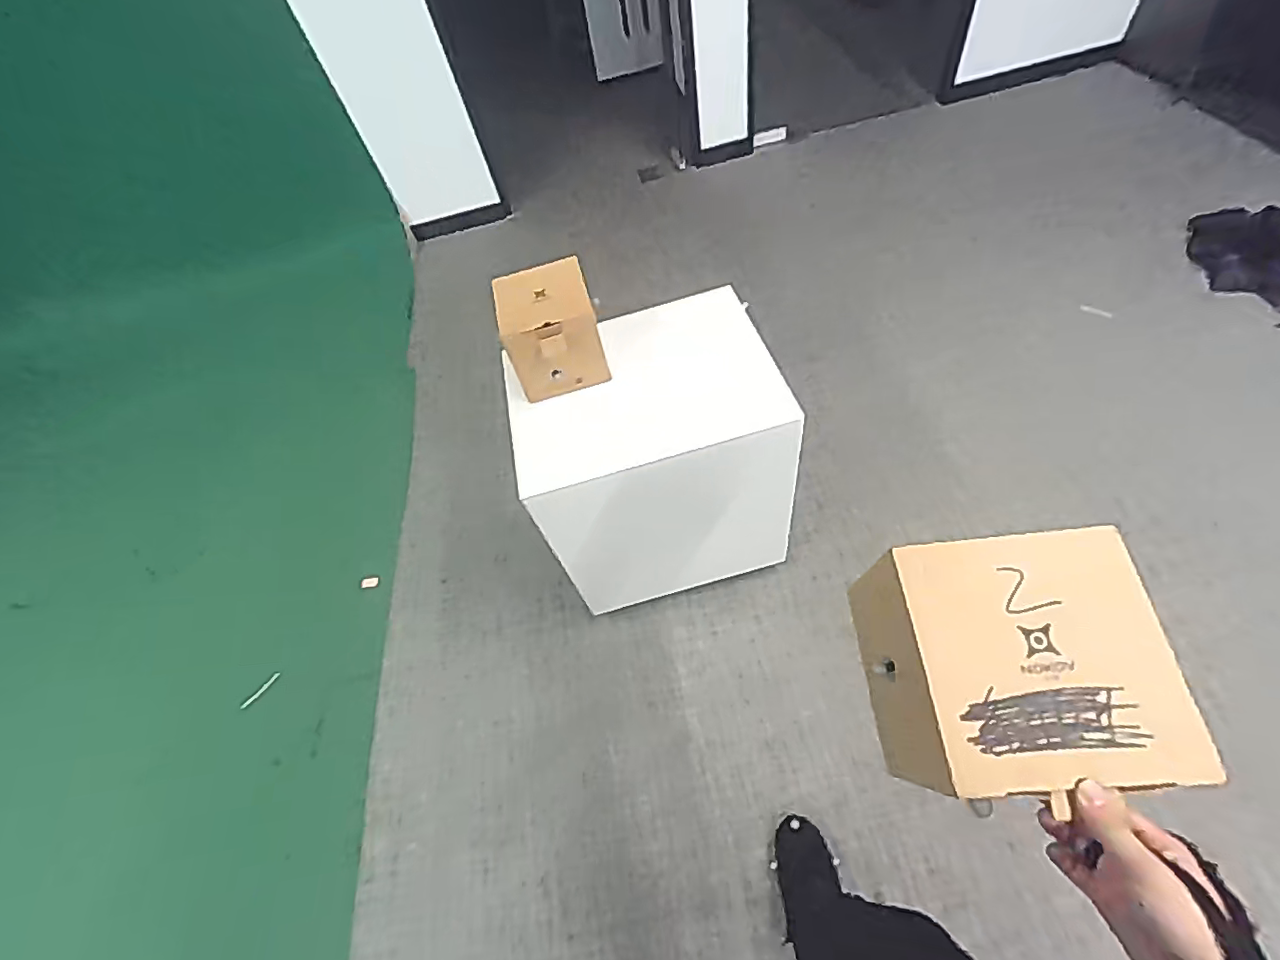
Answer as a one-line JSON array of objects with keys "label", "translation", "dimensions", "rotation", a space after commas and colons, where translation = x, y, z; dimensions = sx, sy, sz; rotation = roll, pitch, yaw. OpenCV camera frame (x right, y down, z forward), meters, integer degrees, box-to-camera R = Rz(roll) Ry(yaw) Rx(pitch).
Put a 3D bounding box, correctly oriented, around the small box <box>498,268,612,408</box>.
[{"label": "small box", "translation": [-0.160, -0.267, 1.031], "dimensions": [0.168, 0.176, 0.179], "rotation": [-16, 55, -1]}]
